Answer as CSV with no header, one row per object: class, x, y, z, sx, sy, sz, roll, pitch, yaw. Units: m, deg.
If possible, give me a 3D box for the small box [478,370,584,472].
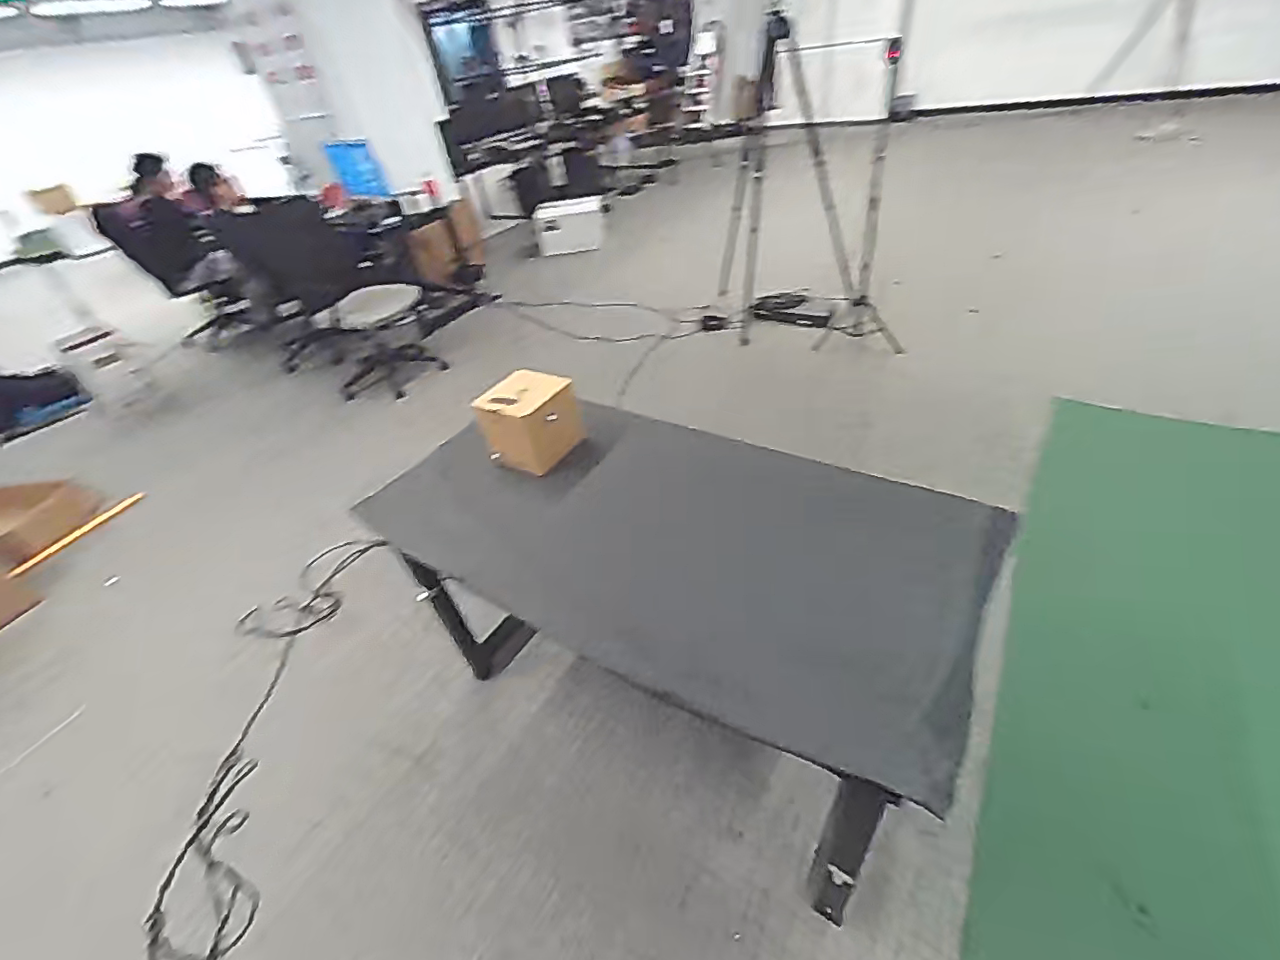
small box,-0.255,-0.143,1.315,0.168,0.176,0.179,17,46,29
